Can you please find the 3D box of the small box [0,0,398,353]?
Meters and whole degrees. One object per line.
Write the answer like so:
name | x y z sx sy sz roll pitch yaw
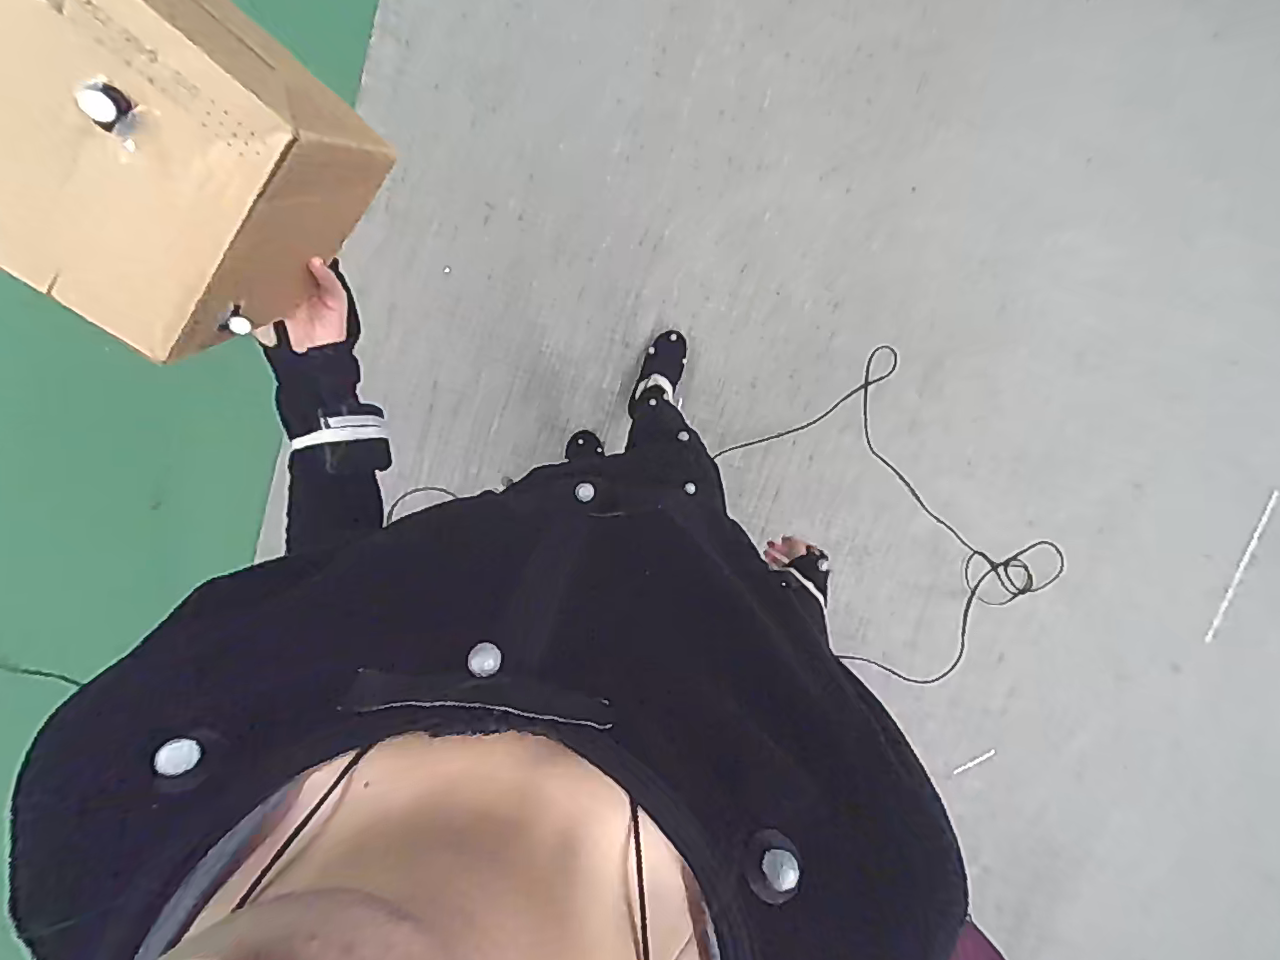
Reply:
small box | -0.290 -0.216 0.347 0.168 0.179 0.176 39 108 -21
